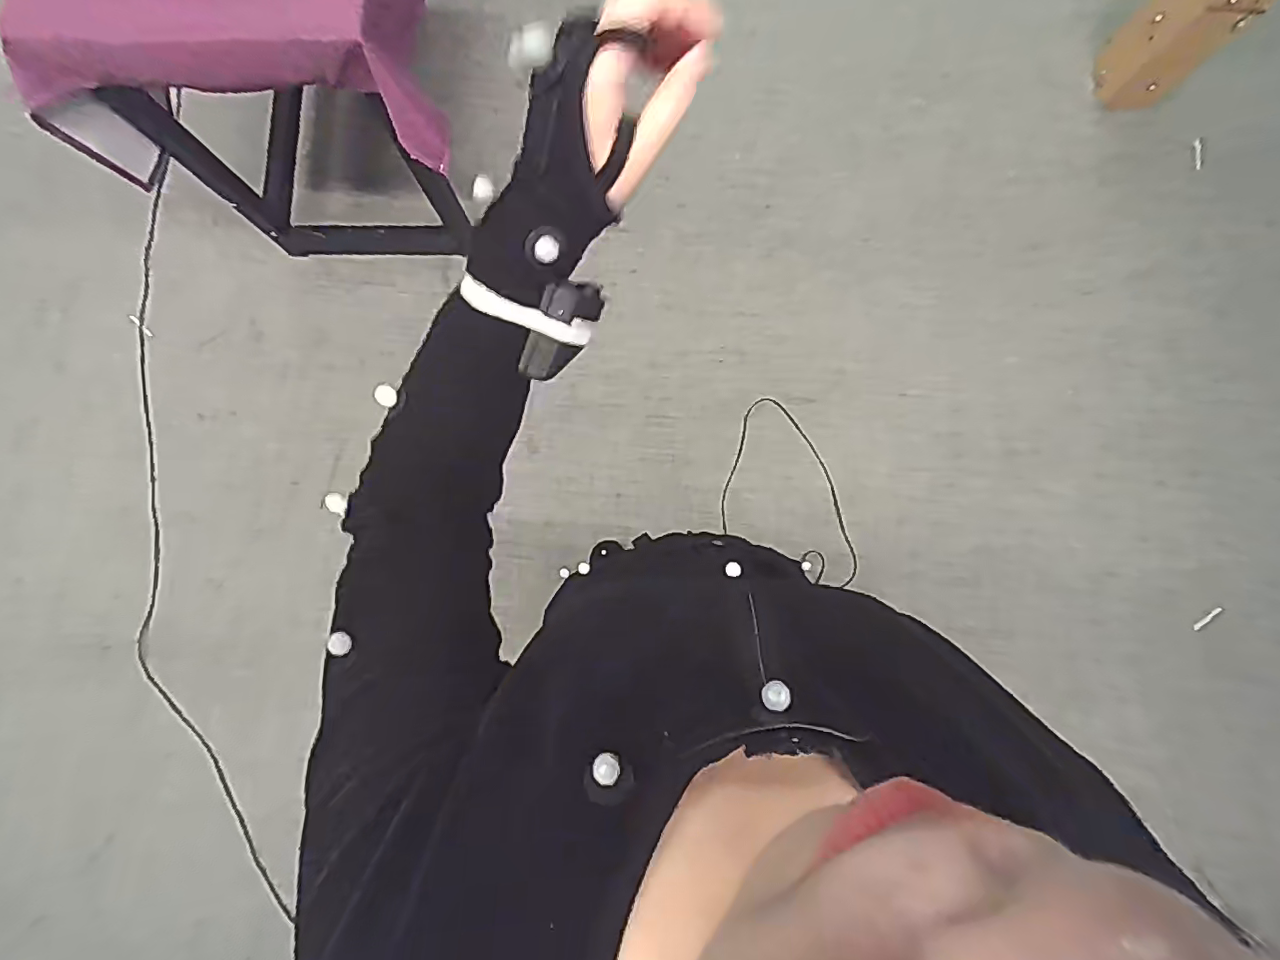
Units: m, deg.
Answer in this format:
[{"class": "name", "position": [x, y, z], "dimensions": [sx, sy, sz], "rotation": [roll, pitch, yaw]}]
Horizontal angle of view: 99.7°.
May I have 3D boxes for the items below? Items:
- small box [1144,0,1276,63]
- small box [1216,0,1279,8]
[{"class": "small box", "position": [1.518, -1.262, 1.449], "dimensions": [0.179, 0.176, 0.168], "rotation": [0, 82, 1]}, {"class": "small box", "position": [1.511, -1.275, 1.285], "dimensions": [0.168, 0.176, 0.179], "rotation": [2, 82, 1]}]
